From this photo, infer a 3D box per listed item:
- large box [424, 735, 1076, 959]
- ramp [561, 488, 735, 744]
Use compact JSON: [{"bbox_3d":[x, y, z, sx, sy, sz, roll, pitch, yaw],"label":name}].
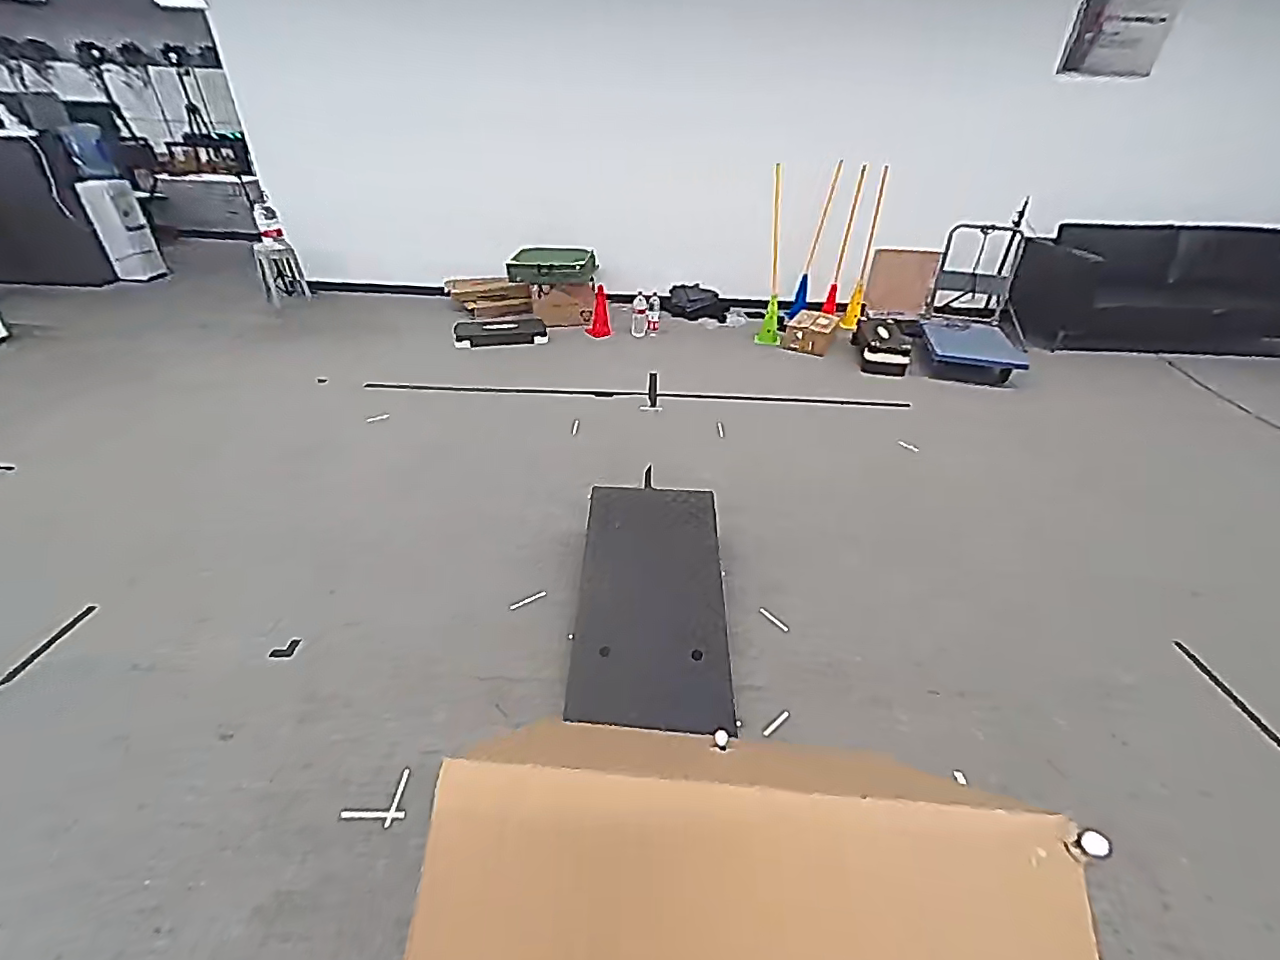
[{"bbox_3d":[0.063,0.402,0.450,0.408,0.320,0.320,3,72,3],"label":"large box"},{"bbox_3d":[0.031,0.397,1.825,0.509,0.206,0.991,2,35,-3],"label":"ramp"}]
